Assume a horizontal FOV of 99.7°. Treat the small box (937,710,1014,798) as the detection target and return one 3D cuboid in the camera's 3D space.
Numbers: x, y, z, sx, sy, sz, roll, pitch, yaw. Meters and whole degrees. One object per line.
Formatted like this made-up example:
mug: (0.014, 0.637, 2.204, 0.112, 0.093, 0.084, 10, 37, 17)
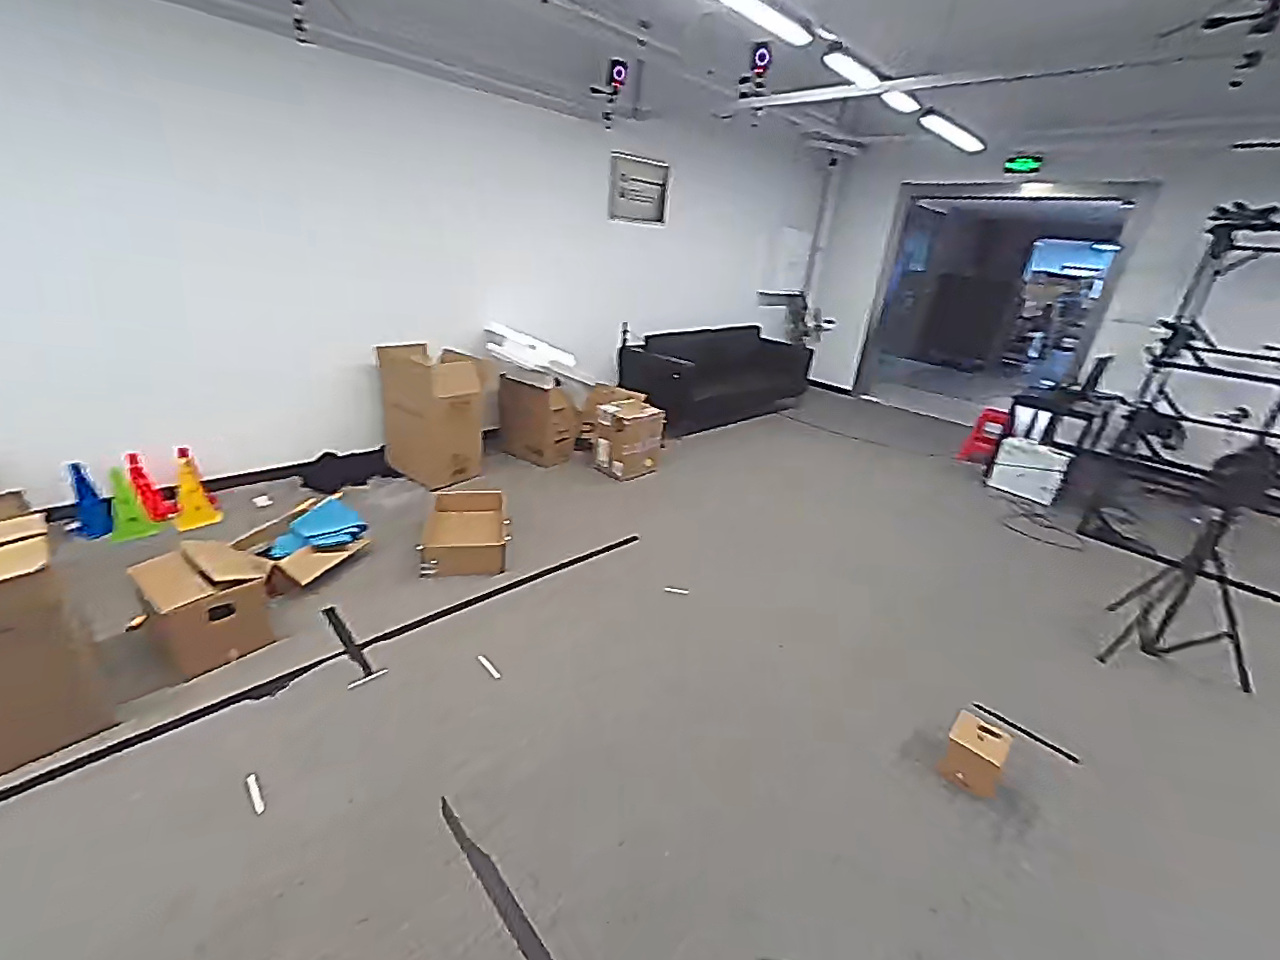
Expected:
small box: (1.166, 0.951, 1.884, 0.179, 0.176, 0.168, -19, 32, -42)
